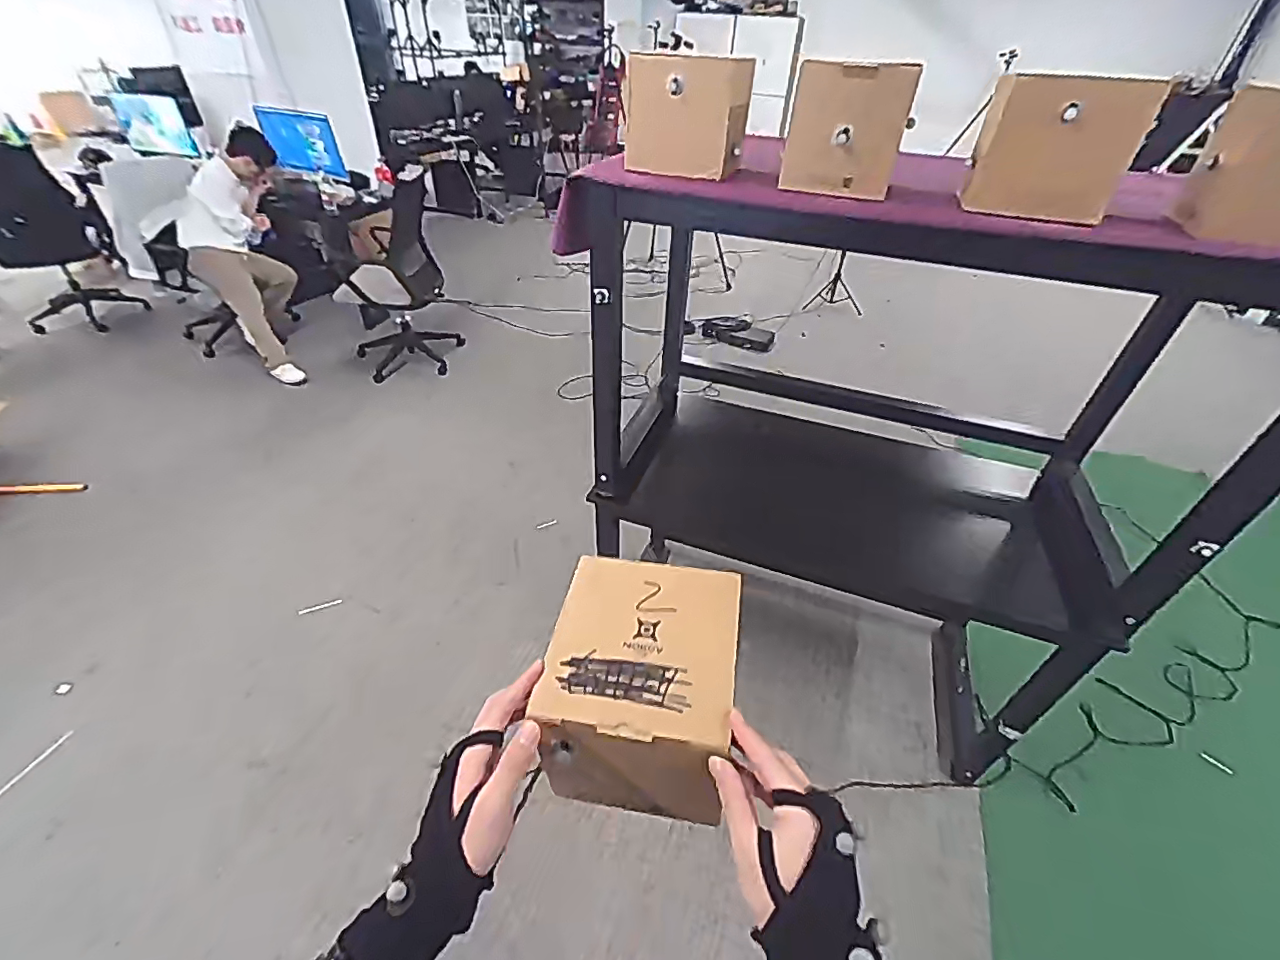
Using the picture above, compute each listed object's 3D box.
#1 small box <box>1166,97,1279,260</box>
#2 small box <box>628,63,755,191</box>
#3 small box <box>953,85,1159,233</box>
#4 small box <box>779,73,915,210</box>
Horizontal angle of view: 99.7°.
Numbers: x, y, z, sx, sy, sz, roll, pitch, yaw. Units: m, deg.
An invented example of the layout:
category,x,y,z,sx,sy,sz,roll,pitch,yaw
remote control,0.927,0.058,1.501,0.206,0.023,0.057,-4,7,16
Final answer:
category,x,y,z,sx,sy,sz,roll,pitch,yaw
small box,0.858,-0.401,0.720,0.179,0.176,0.168,17,42,18
small box,0.085,-0.613,0.939,0.179,0.176,0.168,15,40,13
small box,0.592,-0.475,0.801,0.179,0.176,0.168,15,39,16
small box,0.329,-0.548,0.873,0.168,0.176,0.179,15,40,14
